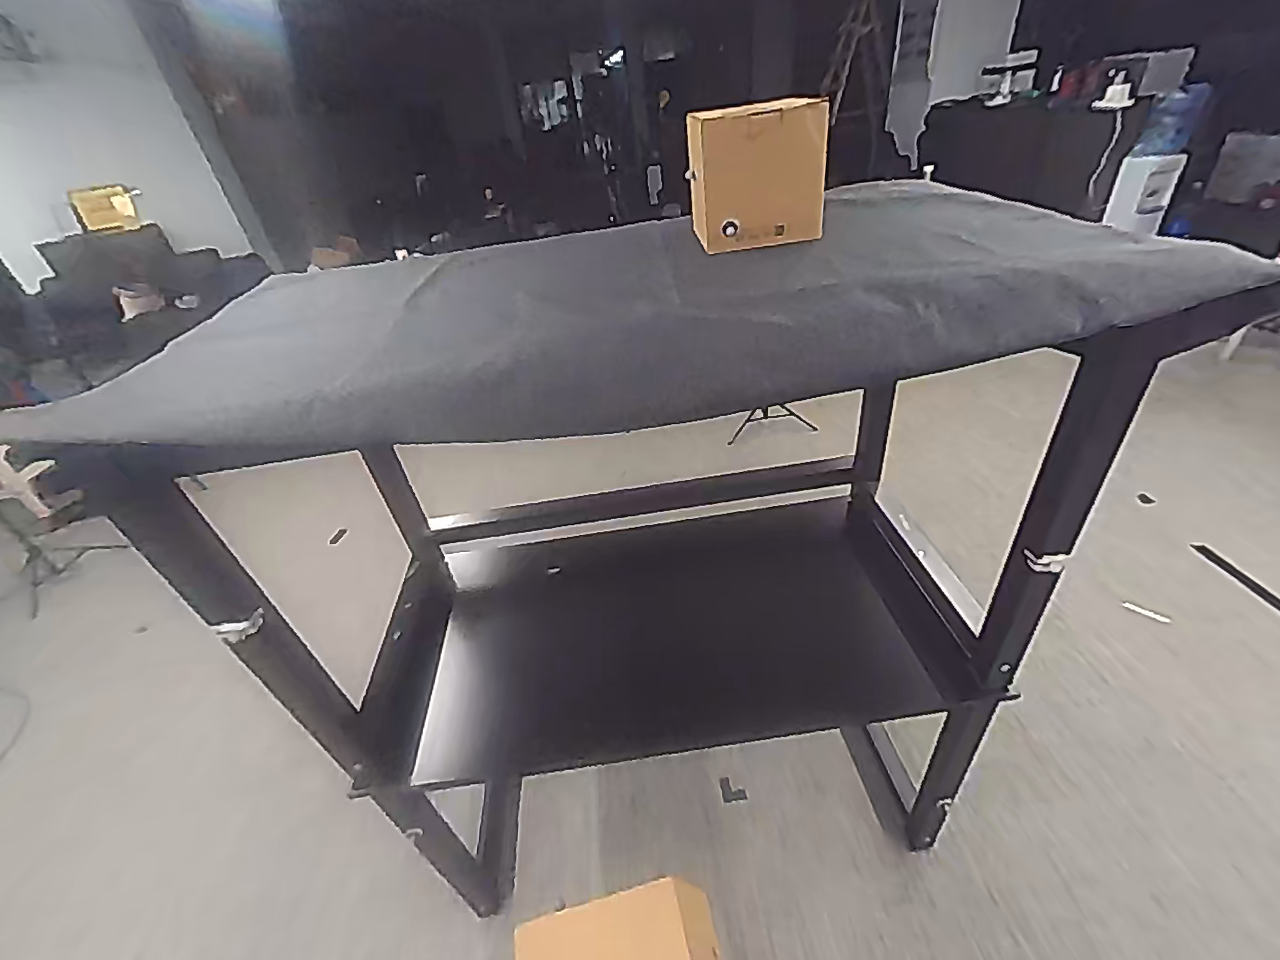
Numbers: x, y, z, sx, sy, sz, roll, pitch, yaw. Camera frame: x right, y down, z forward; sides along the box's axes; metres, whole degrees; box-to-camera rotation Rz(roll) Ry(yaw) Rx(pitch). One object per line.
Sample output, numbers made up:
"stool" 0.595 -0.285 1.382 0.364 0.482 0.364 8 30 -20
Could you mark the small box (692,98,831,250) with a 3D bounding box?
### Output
"small box" 0.172 -0.449 0.799 0.168 0.176 0.179 -6 35 3
